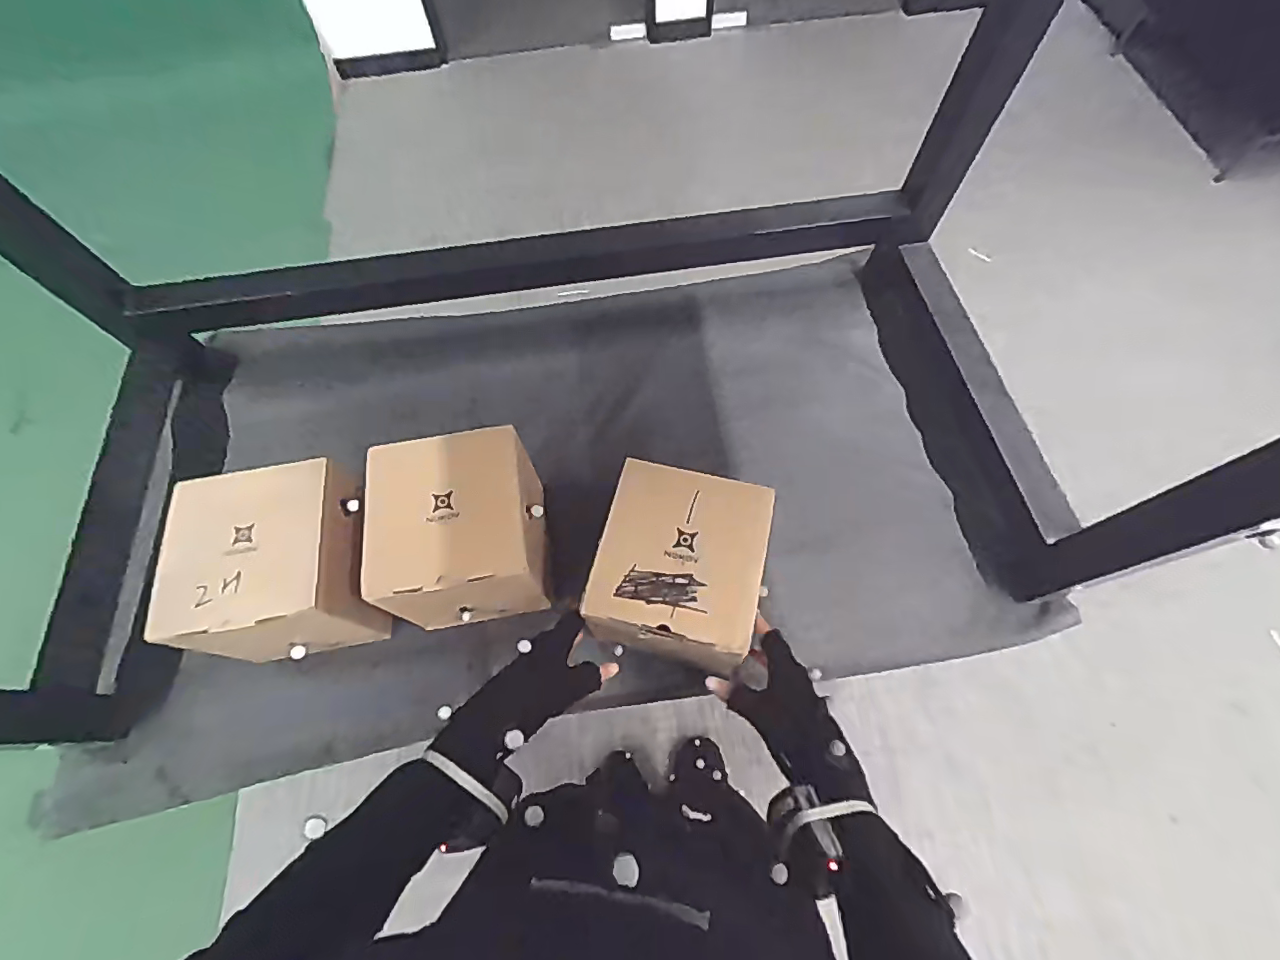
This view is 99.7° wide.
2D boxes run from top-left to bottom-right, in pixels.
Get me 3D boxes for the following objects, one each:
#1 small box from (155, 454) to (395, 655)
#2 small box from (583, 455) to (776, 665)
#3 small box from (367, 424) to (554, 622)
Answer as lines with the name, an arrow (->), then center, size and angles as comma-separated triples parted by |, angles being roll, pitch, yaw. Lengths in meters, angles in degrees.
small box -> -0.403, 0.094, 0.638 | 0.168, 0.176, 0.179 | -10, 65, -3
small box -> 0.047, 0.100, 0.619 | 0.168, 0.176, 0.179 | 13, 64, 8
small box -> -0.203, 0.058, 0.651 | 0.168, 0.176, 0.179 | -10, 65, -2
